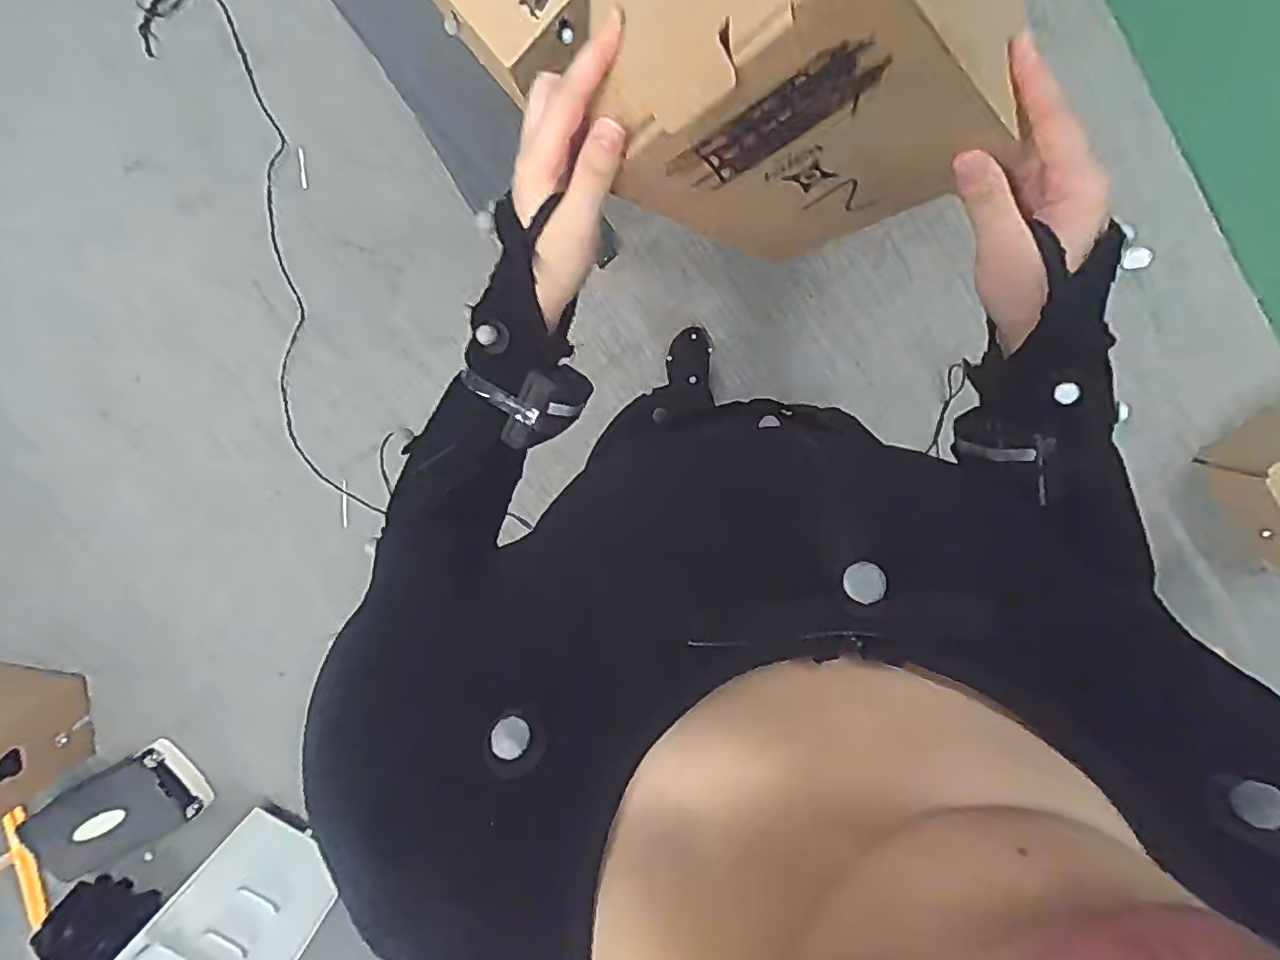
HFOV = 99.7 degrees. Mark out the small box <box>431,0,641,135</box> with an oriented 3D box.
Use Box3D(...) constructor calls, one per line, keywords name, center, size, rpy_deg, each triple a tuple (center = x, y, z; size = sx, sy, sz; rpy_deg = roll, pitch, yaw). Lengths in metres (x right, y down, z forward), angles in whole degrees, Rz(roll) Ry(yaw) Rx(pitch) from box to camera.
Box3D(name="small box", center=(-0.116, -0.510, 0.559), size=(0.168, 0.176, 0.179), rpy_deg=(-42, 97, 12))
